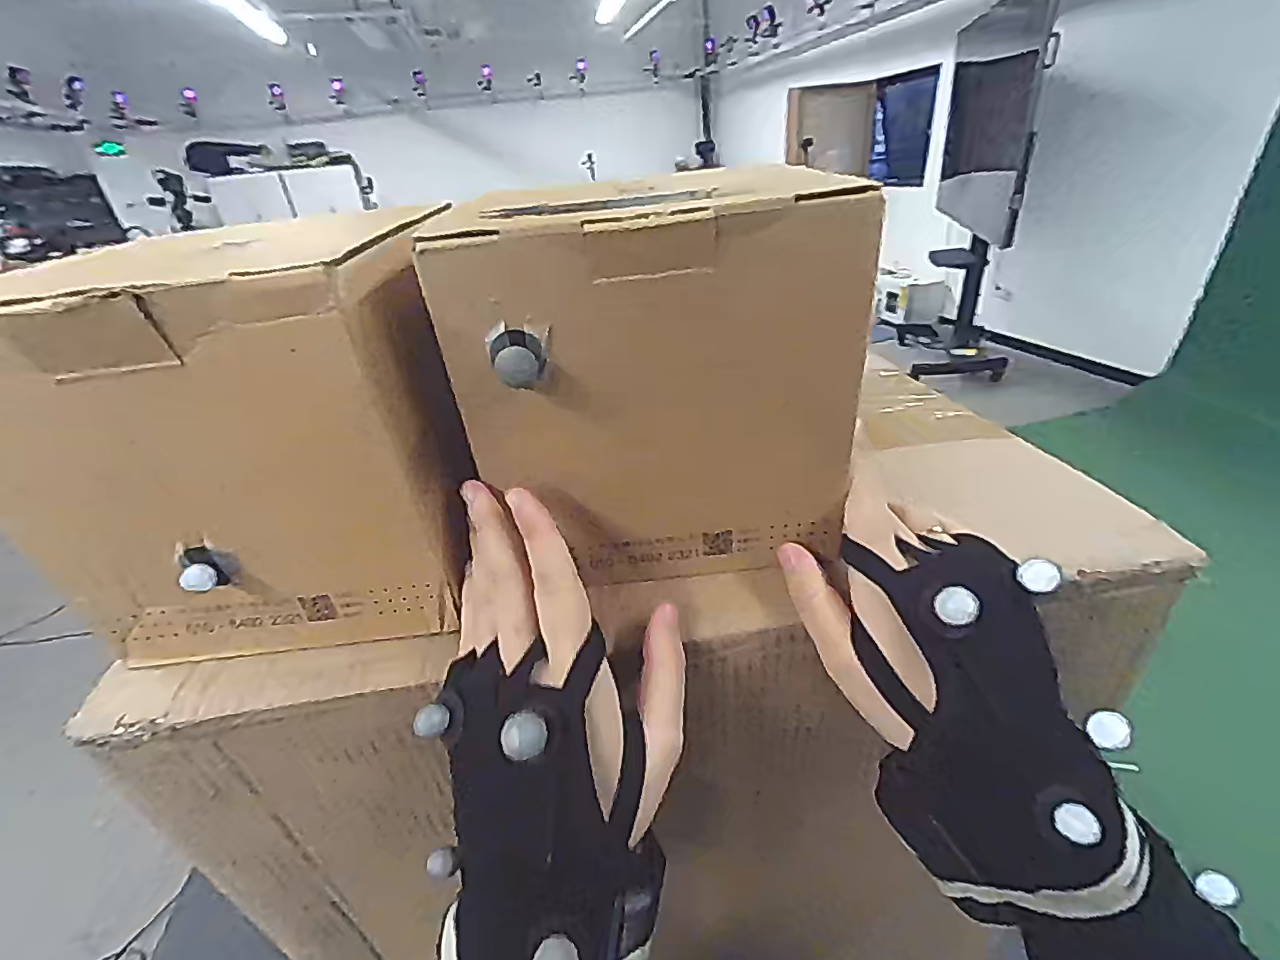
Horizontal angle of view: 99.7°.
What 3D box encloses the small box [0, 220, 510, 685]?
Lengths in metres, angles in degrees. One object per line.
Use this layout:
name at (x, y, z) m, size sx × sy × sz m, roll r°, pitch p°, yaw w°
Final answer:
small box at (-0.171, -0.024, 0.279) m, size 0.168 × 0.176 × 0.179 m, roll -6°, pitch 34°, yaw 0°
